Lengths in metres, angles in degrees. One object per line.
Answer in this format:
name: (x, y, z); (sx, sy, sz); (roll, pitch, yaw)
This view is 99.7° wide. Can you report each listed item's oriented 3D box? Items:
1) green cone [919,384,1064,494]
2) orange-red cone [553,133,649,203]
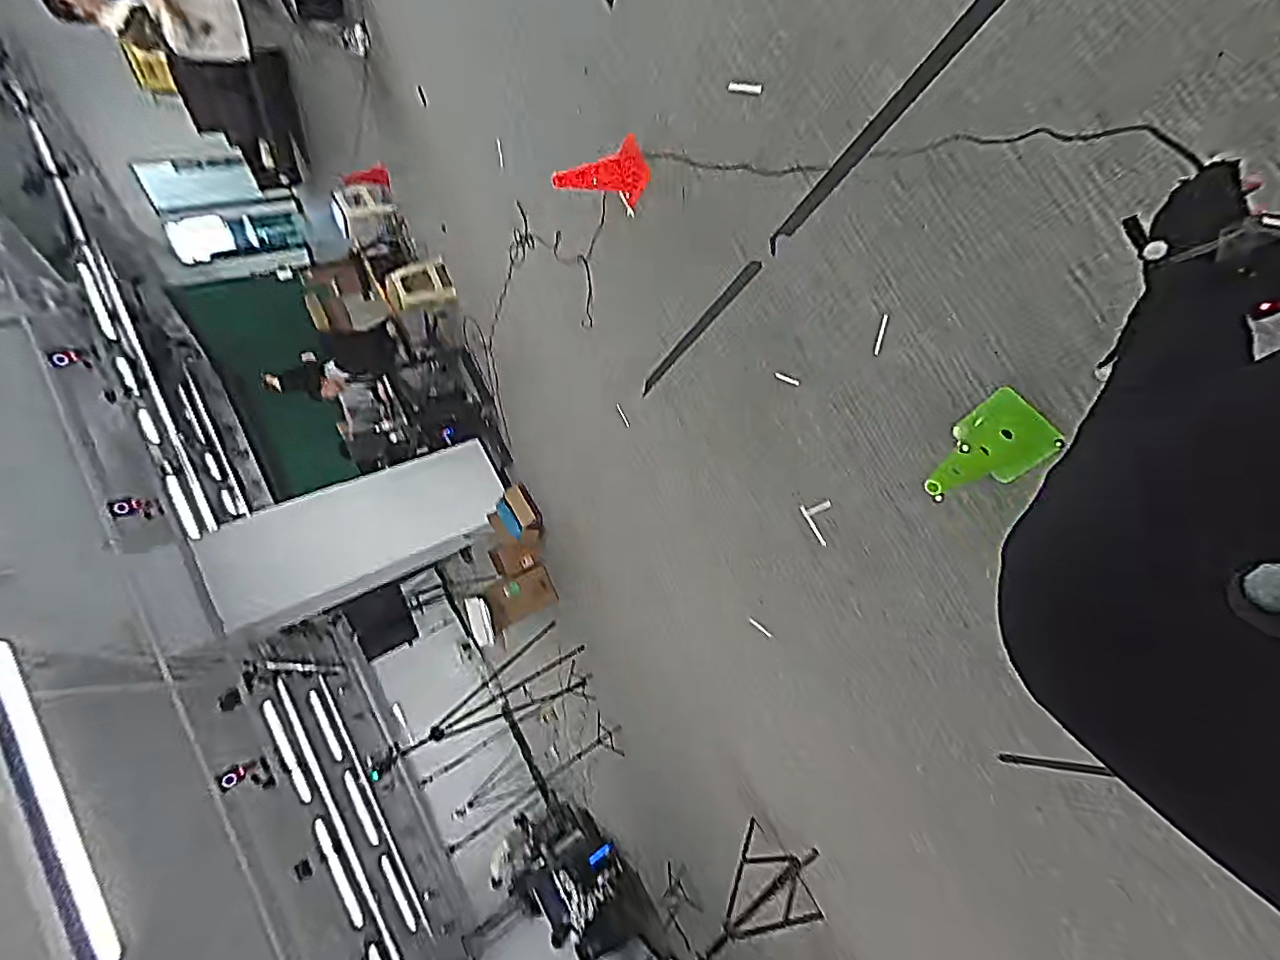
green cone: (0.800, -0.058, 1.312); (0.200, 0.368, 0.202); (55, 152, 20)
orange-red cone: (-0.175, -1.192, 2.096); (0.199, 0.360, 0.198); (-23, 92, 61)
